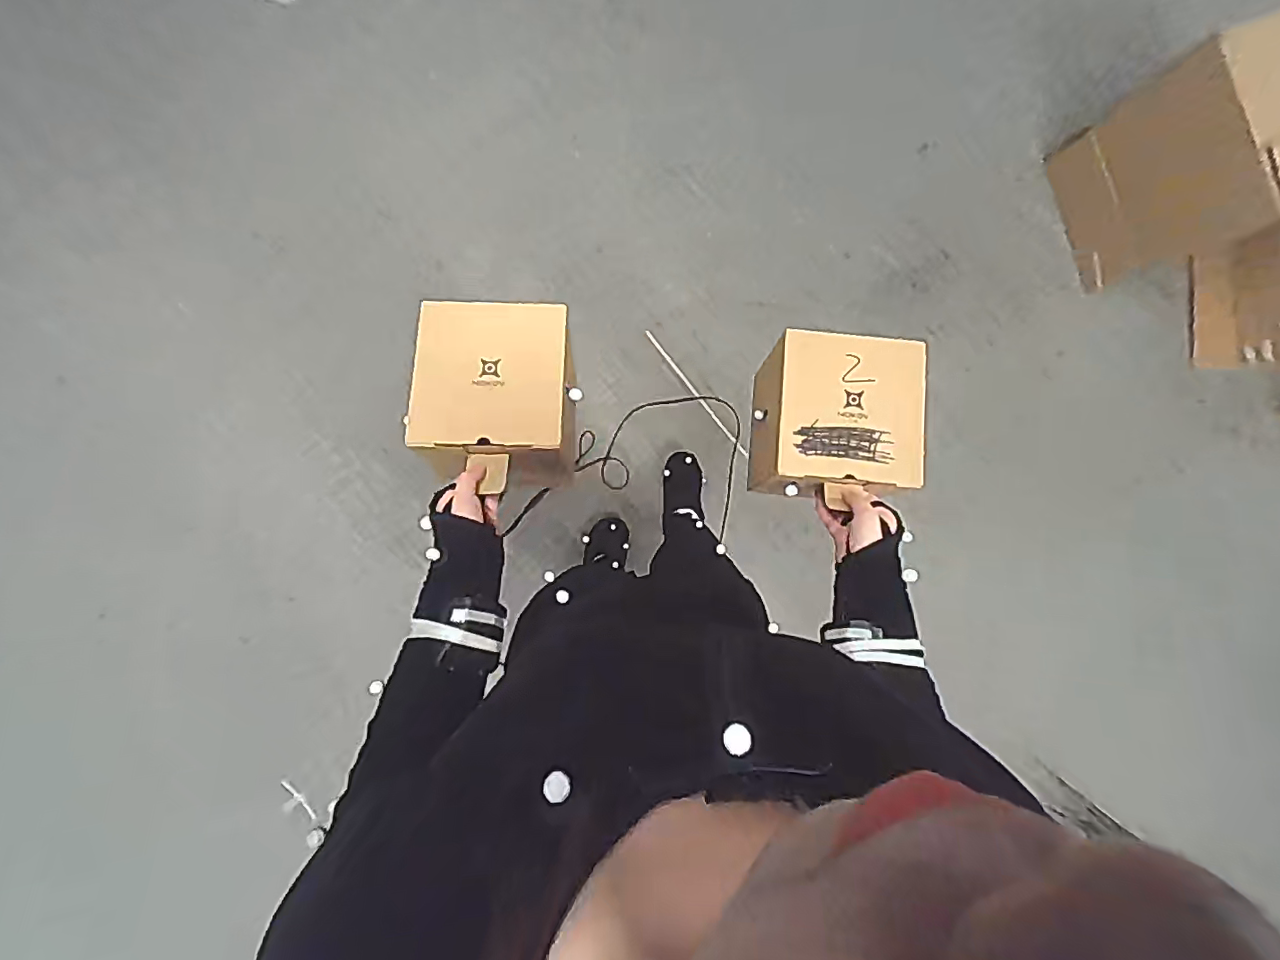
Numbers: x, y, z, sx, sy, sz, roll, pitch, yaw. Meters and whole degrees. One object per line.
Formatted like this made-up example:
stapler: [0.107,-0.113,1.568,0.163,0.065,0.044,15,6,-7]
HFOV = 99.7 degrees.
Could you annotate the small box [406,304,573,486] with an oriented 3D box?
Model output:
small box: [-0.175,-0.098,0.680,0.168,0.176,0.179,0,75,-3]
